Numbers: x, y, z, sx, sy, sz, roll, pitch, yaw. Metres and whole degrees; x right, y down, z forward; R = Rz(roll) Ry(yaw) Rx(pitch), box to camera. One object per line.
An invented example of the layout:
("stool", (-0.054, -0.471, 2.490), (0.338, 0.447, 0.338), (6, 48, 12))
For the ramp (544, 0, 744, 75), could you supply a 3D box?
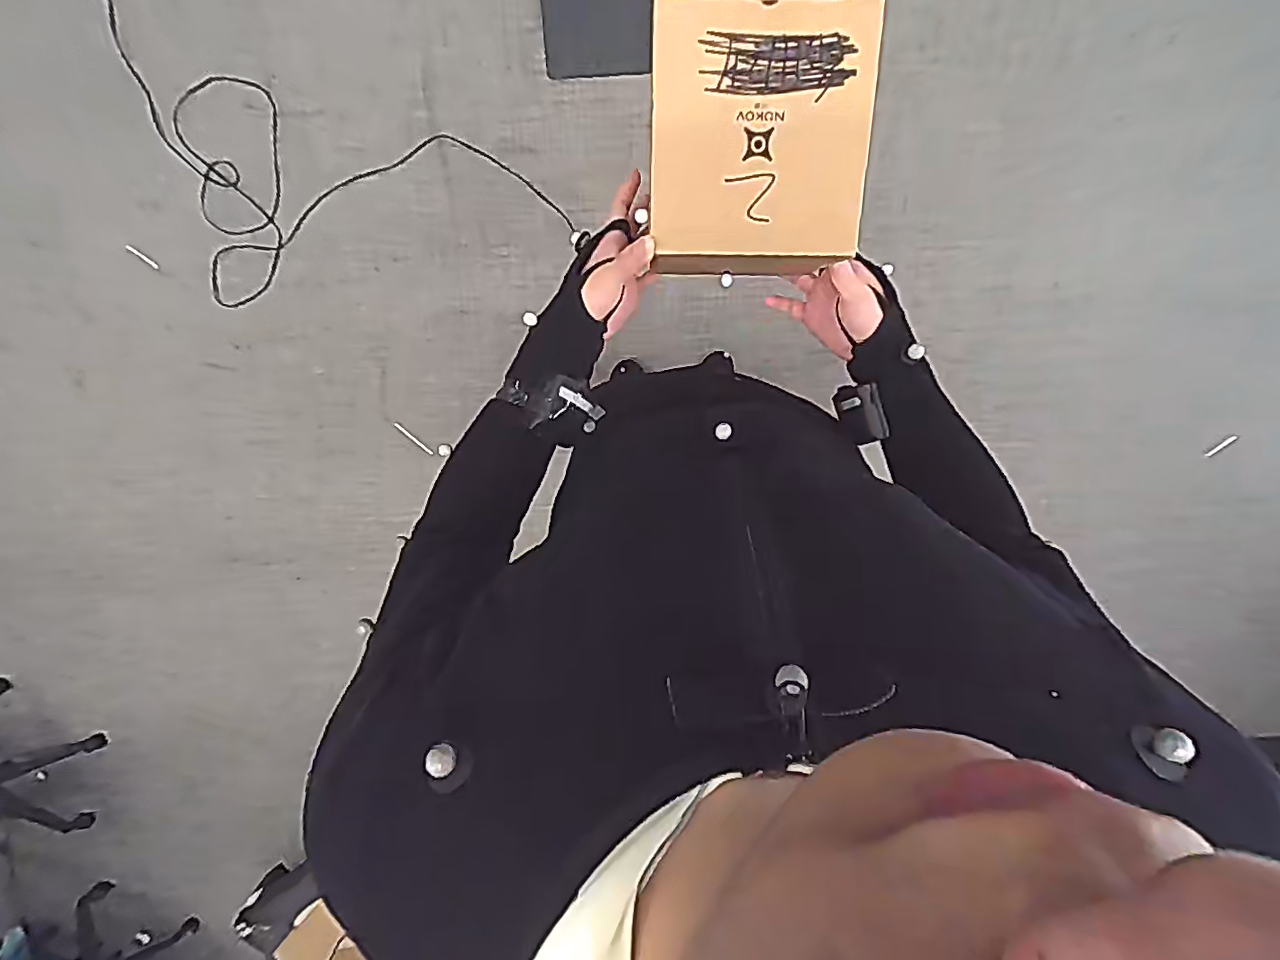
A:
("ramp", (-0.009, -1.500, 1.171), (0.509, 0.206, 0.991), (-4, 105, 1))
